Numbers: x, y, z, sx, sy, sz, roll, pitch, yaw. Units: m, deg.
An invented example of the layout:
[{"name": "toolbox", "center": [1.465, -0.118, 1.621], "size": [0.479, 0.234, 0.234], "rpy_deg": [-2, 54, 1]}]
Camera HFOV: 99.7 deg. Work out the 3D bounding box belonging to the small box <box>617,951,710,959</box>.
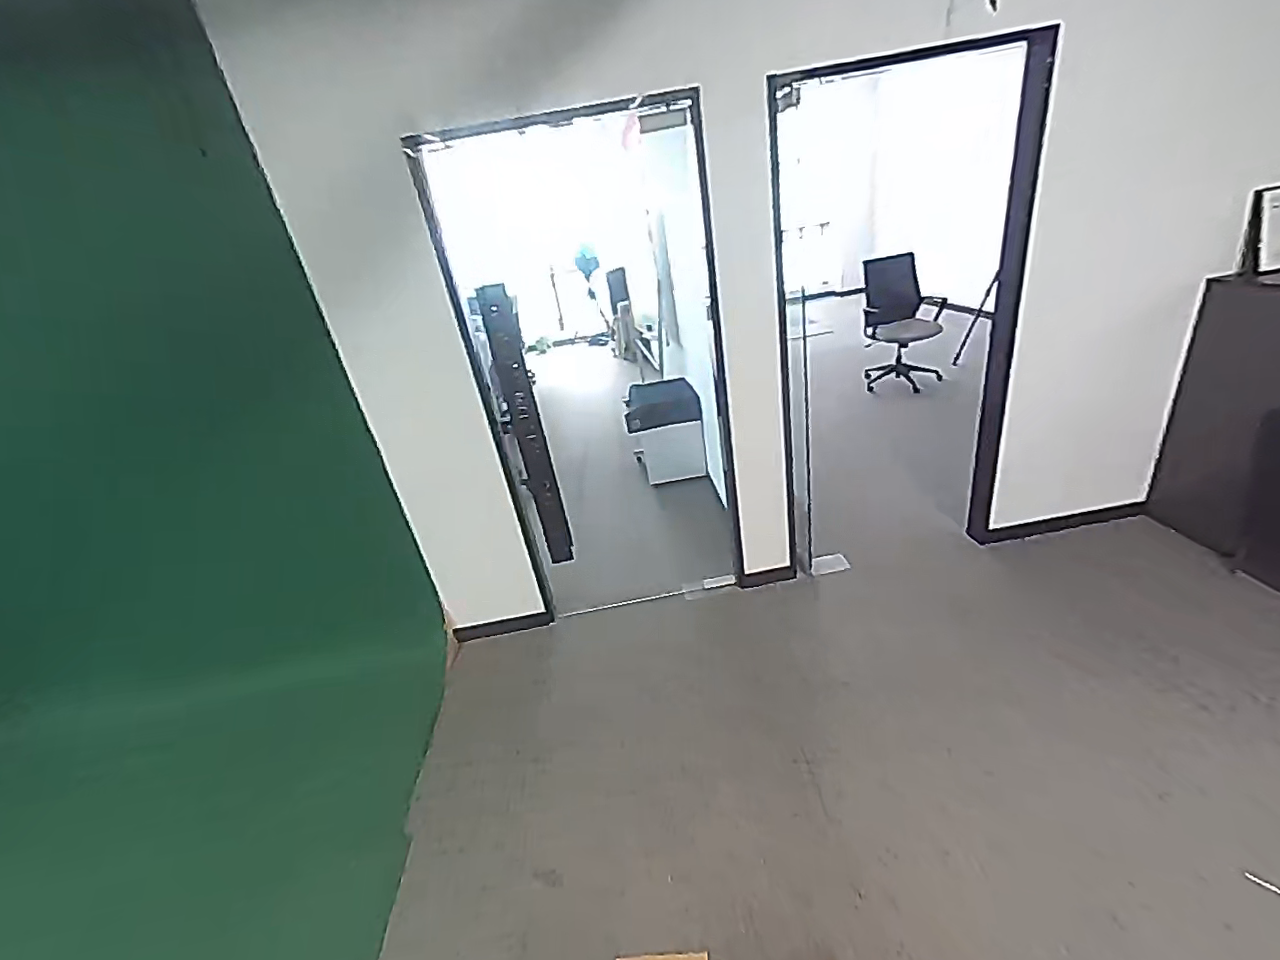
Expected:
[{"name": "small box", "center": [0.048, 0.942, 0.908], "size": [0.168, 0.176, 0.179], "rpy_deg": [-7, 25, 5]}]
